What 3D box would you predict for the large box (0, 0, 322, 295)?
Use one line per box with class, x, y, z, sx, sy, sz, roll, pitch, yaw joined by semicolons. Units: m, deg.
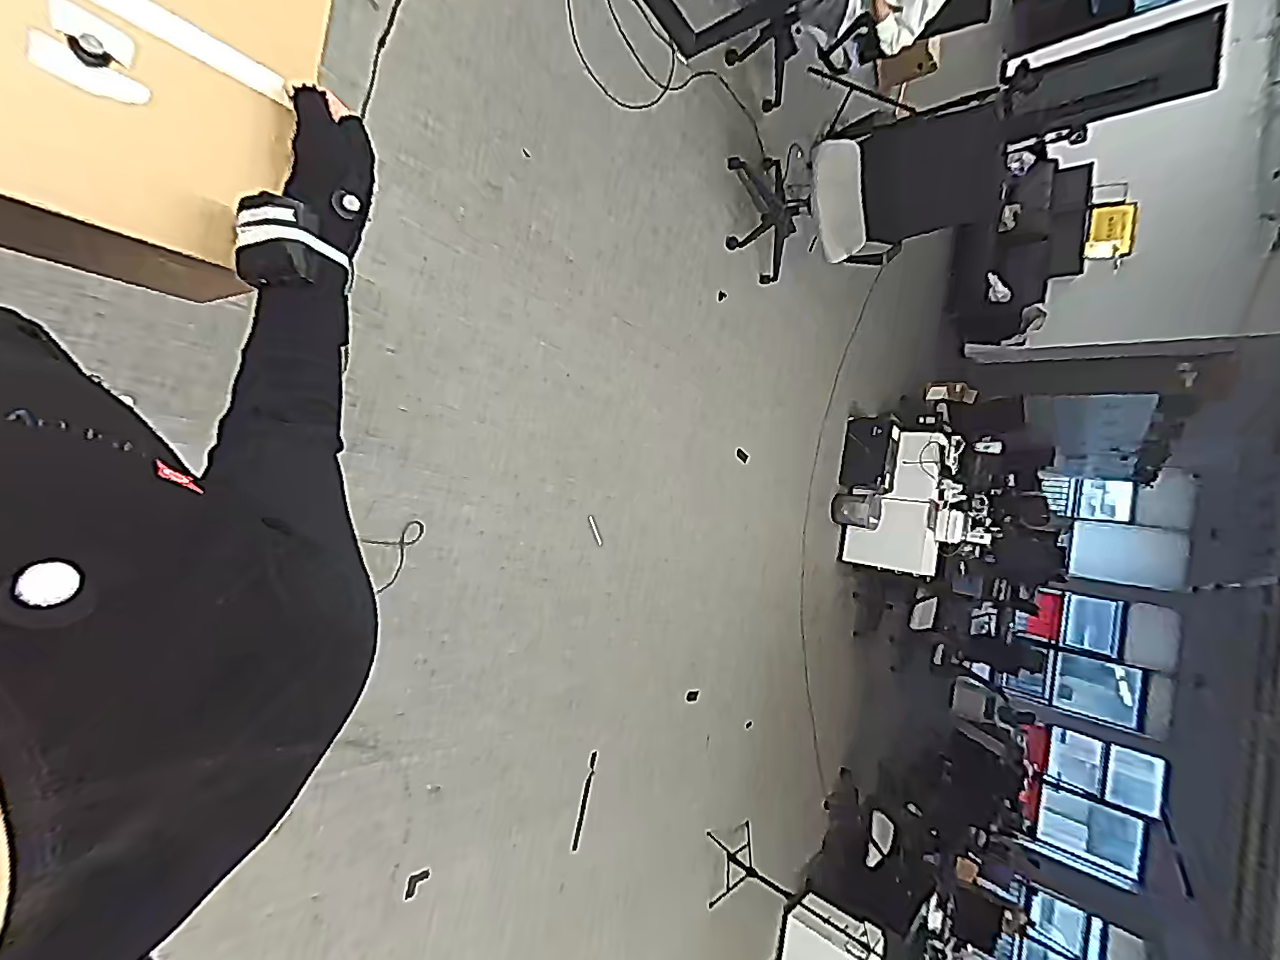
large box;-0.538;-0.372;0.425;0.408;0.320;0.320;9;93;-51
